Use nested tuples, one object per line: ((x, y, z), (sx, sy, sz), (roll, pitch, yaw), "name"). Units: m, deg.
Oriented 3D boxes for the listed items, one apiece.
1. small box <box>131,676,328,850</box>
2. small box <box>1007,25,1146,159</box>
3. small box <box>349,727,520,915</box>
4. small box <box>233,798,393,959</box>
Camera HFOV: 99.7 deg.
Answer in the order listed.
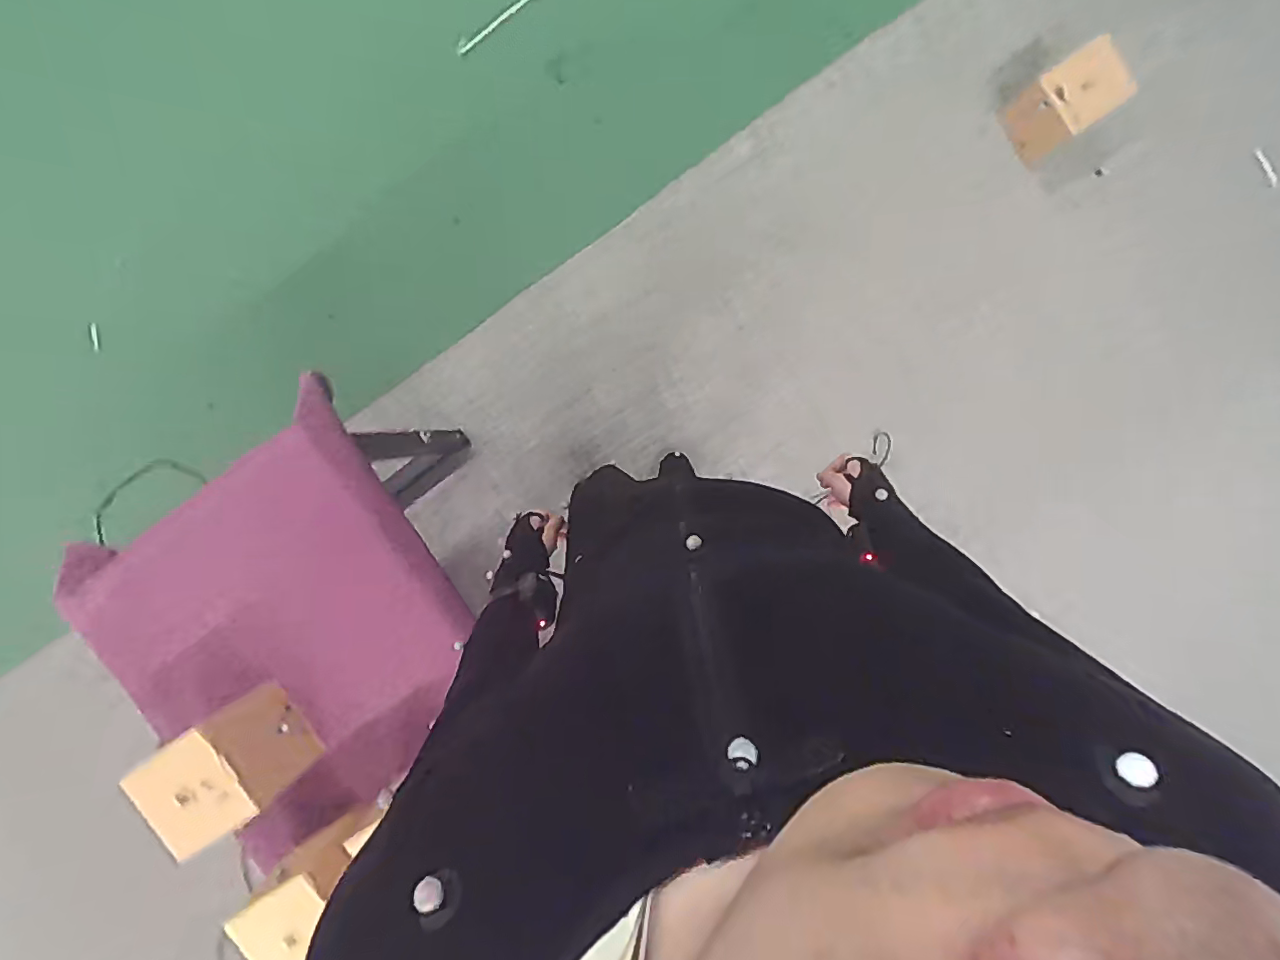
((-0.697, 0.479, 0.939), (0.179, 0.176, 0.168), (-34, 93, 7), "small box")
((1.080, -0.959, 1.354), (0.179, 0.176, 0.168), (-33, 91, 6), "small box")
((-0.334, 0.564, 0.915), (0.179, 0.176, 0.168), (-35, 92, 7), "small box")
((-0.543, 0.715, 0.951), (0.179, 0.176, 0.168), (-36, 92, 6), "small box")
